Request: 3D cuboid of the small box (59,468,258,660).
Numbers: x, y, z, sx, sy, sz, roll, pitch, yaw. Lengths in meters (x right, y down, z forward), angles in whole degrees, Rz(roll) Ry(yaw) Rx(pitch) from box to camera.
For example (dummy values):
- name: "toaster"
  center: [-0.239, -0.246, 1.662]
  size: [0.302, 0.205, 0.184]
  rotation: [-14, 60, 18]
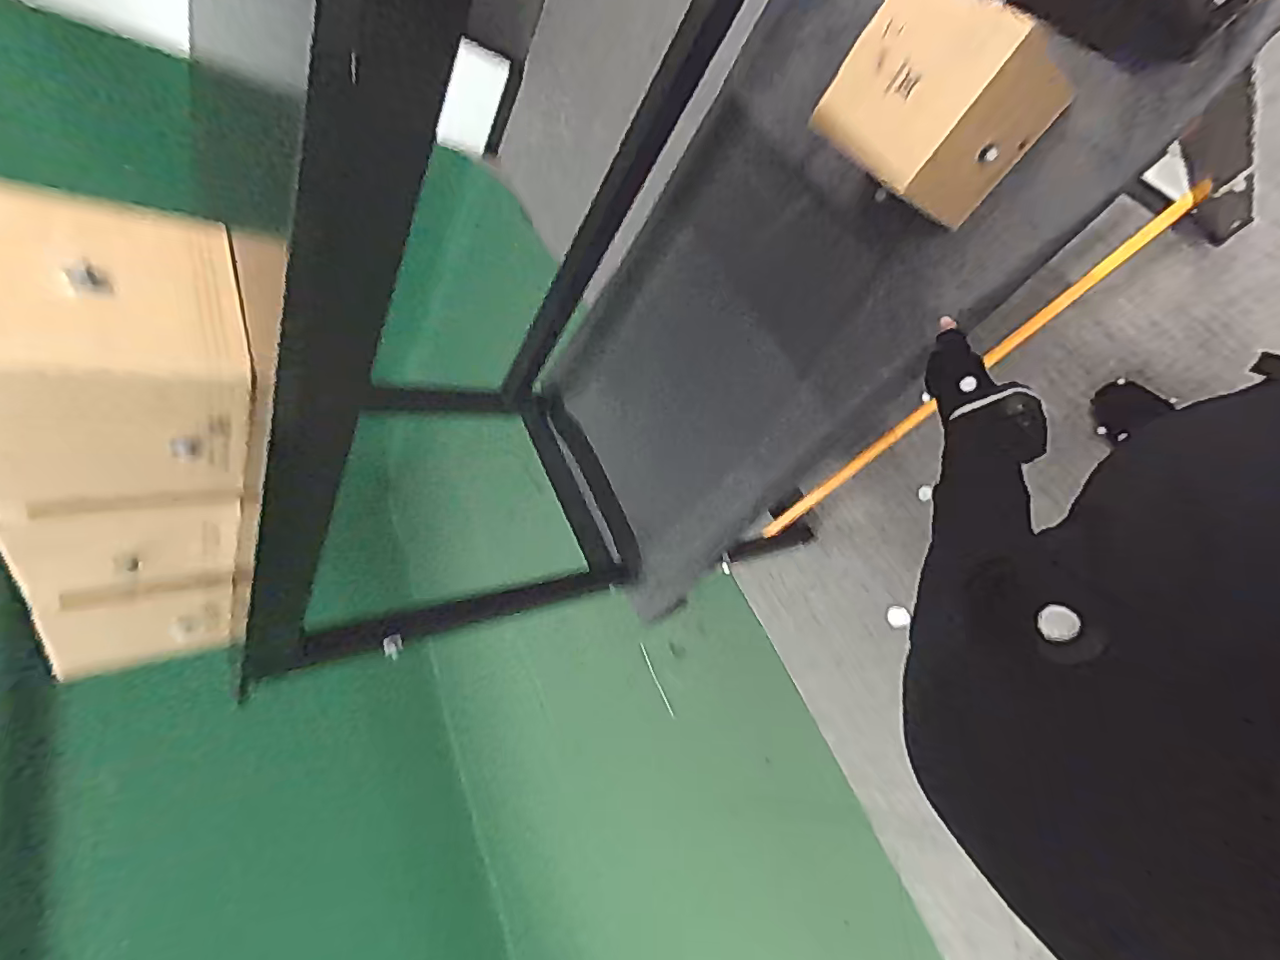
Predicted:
- name: "small box"
  center: [-0.611, 0.099, 0.694]
  size: [0.168, 0.176, 0.179]
  rotation: [-50, 59, 39]

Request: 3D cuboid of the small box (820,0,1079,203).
- name: "small box"
  center: [0.358, -0.452, 0.631]
  size: [0.168, 0.176, 0.179]
  rotation: [-53, 56, 38]
